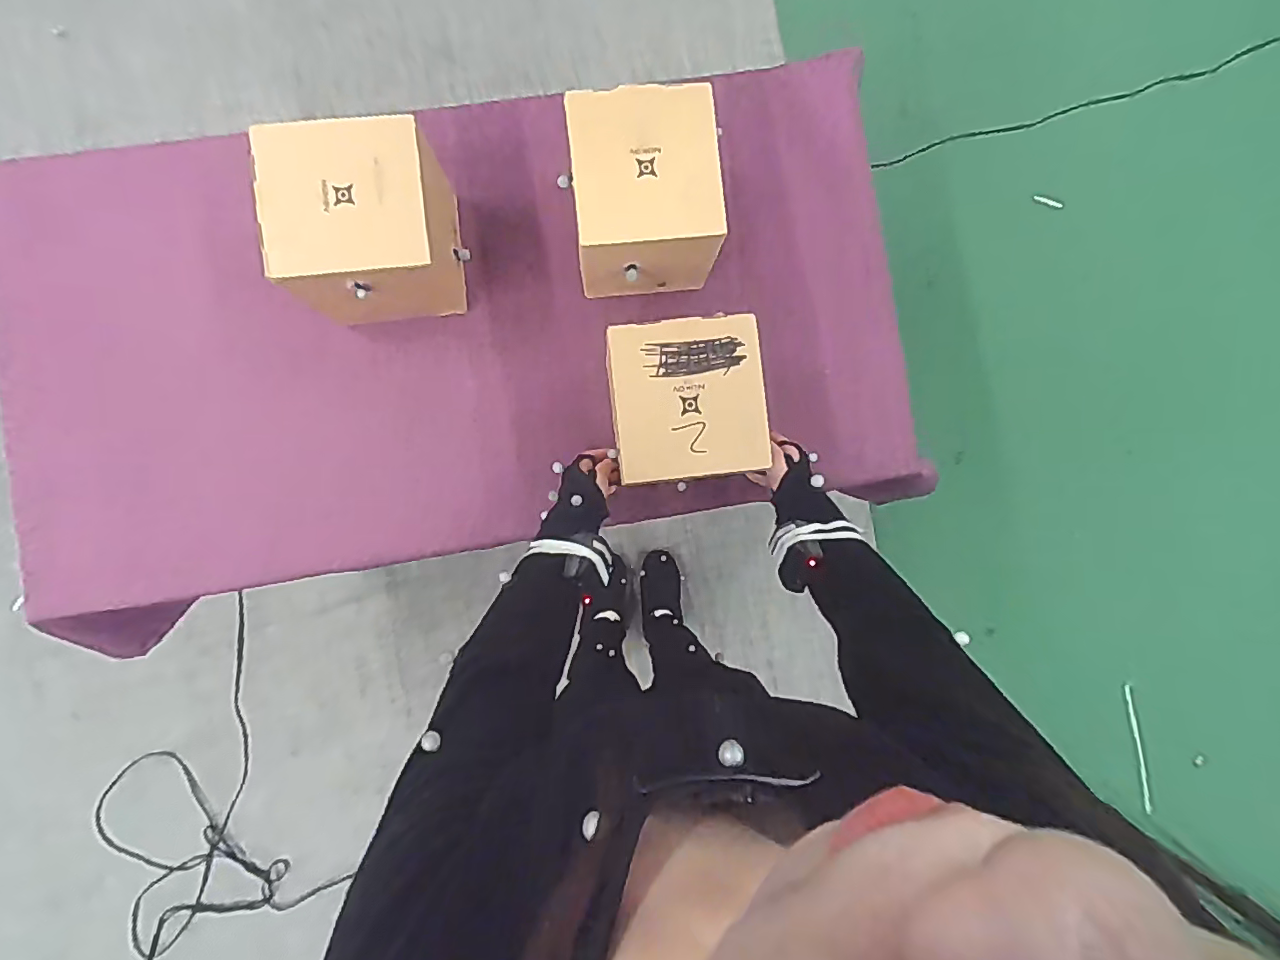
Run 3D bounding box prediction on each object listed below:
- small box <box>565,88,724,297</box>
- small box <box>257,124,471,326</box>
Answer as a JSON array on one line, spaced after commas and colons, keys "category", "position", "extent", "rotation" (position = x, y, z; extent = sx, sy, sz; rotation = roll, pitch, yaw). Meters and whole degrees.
[{"category": "small box", "position": [0.003, -0.341, 0.677], "extent": [0.168, 0.176, 0.179], "rotation": [-6, 88, -3]}, {"category": "small box", "position": [-0.322, -0.297, 0.662], "extent": [0.179, 0.176, 0.168], "rotation": [-6, 89, -4]}]
